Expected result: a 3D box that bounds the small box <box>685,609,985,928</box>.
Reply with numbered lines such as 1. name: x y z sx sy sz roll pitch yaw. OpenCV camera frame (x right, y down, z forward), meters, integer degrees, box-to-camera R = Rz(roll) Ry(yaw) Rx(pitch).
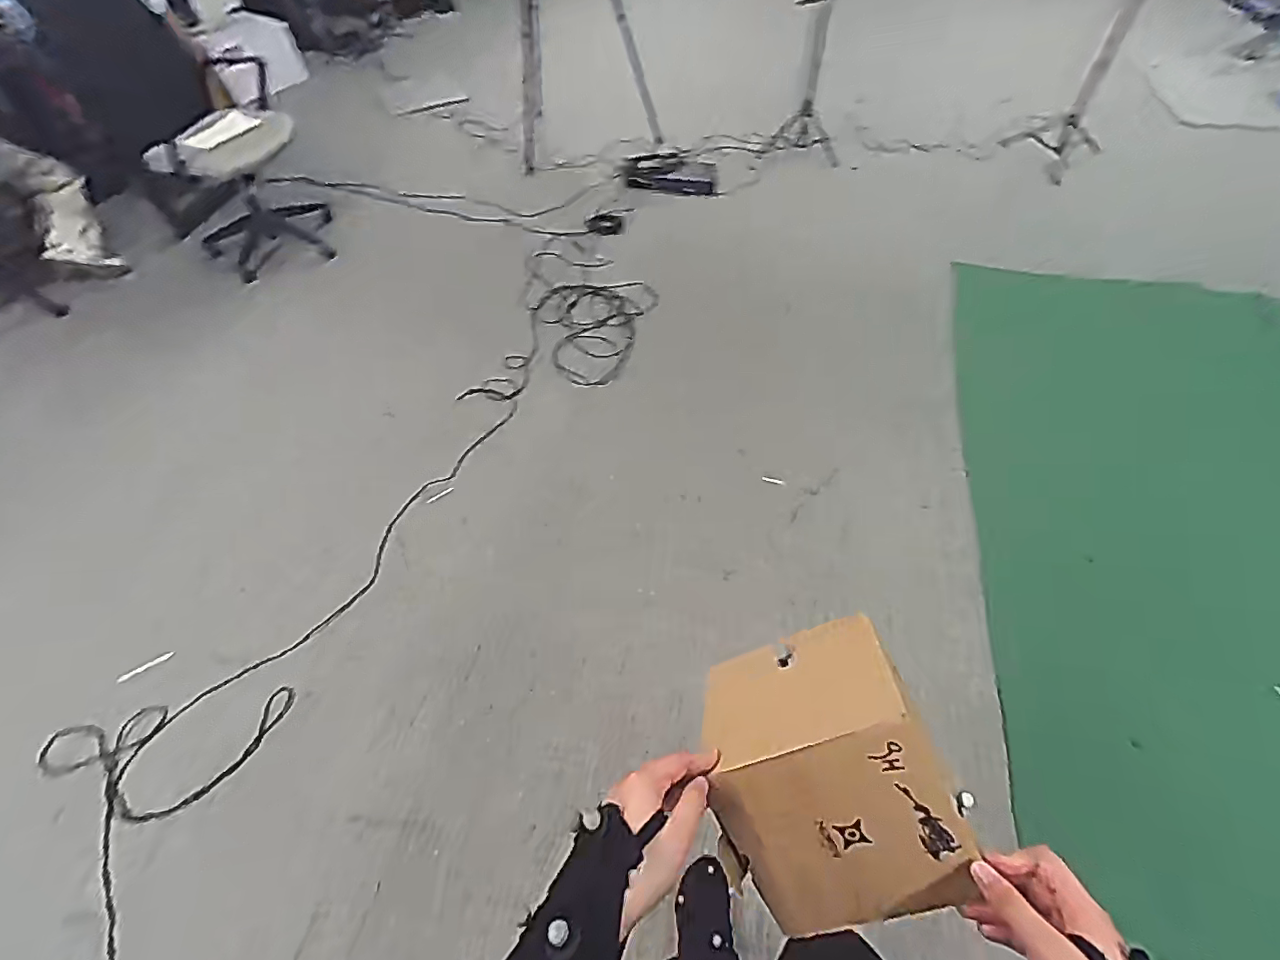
1. small box: 0.164 0.248 0.492 0.179 0.176 0.168 -27 97 18
